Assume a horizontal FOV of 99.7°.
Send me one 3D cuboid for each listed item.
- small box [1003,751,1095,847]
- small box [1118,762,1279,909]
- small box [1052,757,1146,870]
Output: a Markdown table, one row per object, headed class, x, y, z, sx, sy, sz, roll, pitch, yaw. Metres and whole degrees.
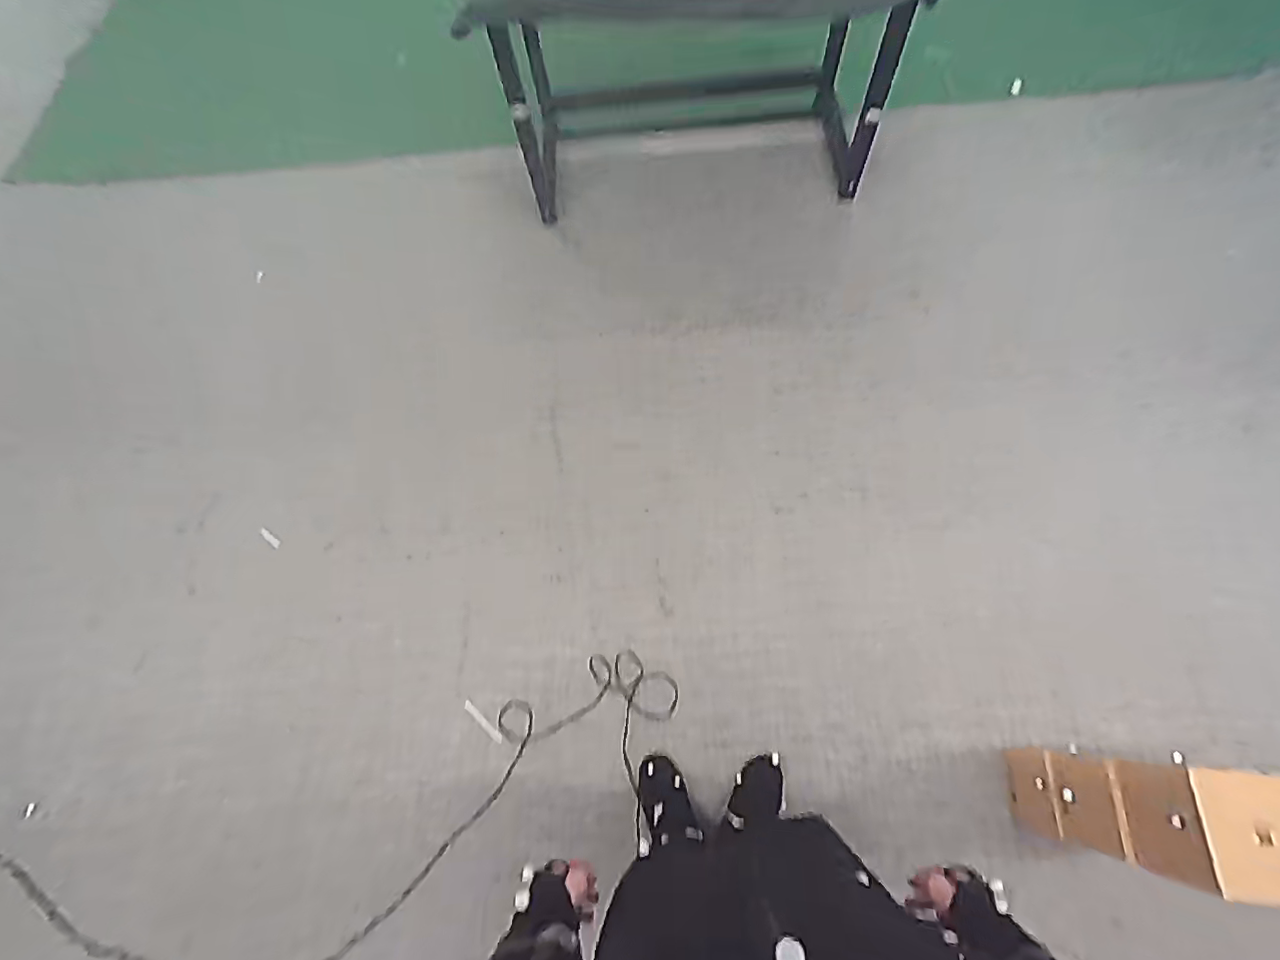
| class | x | y | z | sx | sy | sz | roll | pitch | yaw |
| --- | --- | --- | --- | --- | --- | --- | --- | --- | --- |
| small box | 0.945 | 0.697 | 1.186 | 0.179 | 0.176 | 0.168 | 3 | 68 | 5 |
| small box | 0.941 | 0.570 | 0.885 | 0.168 | 0.176 | 0.179 | 2 | 68 | 6 |
| small box | 0.943 | 0.635 | 1.033 | 0.179 | 0.176 | 0.168 | 4 | 67 | 6 |
